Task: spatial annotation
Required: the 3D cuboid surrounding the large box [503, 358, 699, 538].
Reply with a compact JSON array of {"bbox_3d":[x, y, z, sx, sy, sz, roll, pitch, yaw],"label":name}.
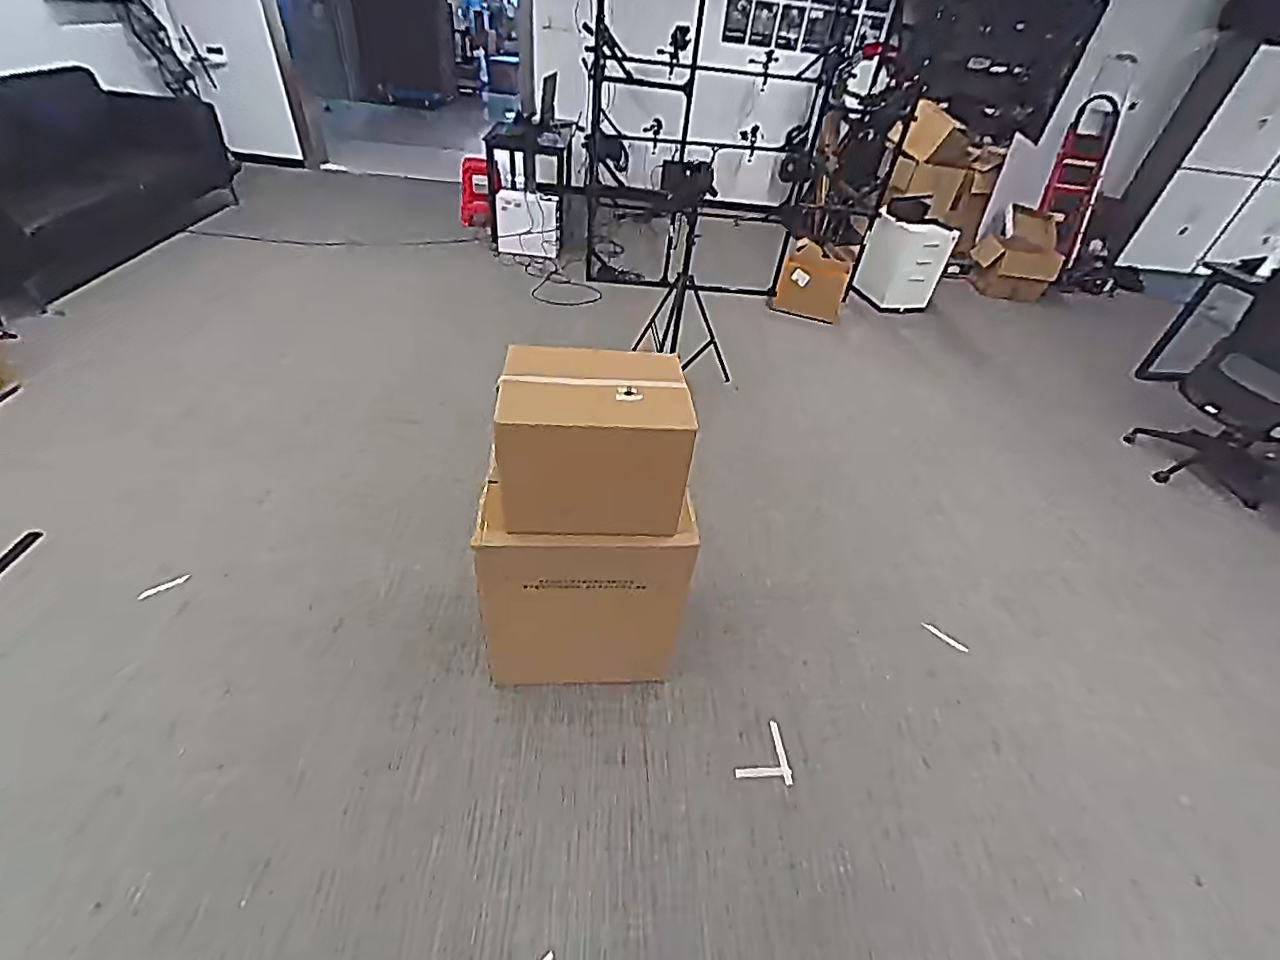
[{"bbox_3d":[-0.105,-0.073,1.287,0.408,0.320,0.320,2,41,-8],"label":"large box"}]
